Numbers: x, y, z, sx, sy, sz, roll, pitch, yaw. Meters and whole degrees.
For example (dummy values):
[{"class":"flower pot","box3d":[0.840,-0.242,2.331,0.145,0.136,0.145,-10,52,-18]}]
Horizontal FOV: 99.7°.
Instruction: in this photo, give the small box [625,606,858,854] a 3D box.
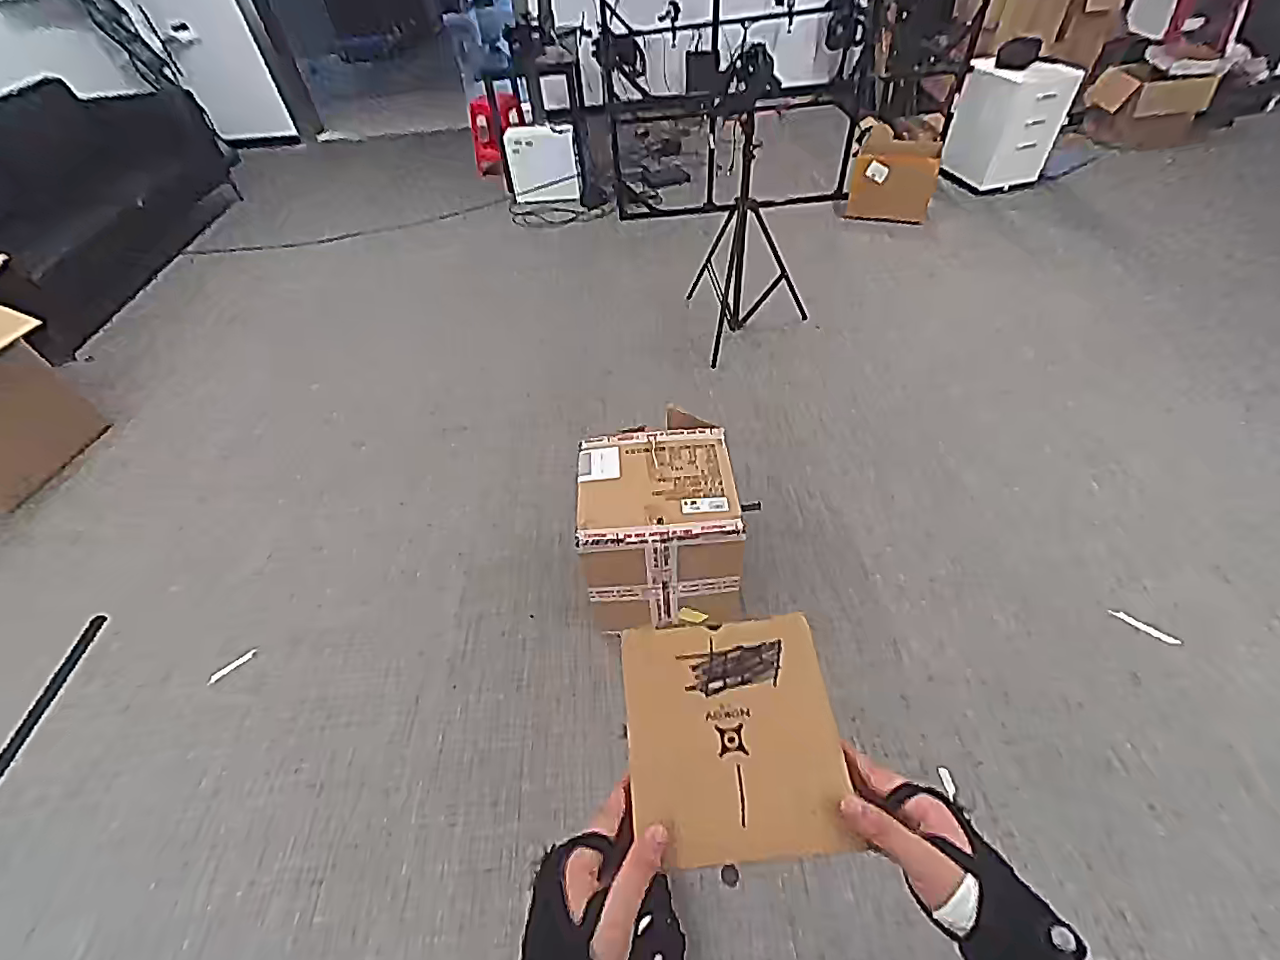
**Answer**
[{"class":"small box","box3d":[0.073,0.235,0.500,0.168,0.176,0.179,-5,56,-1]}]
